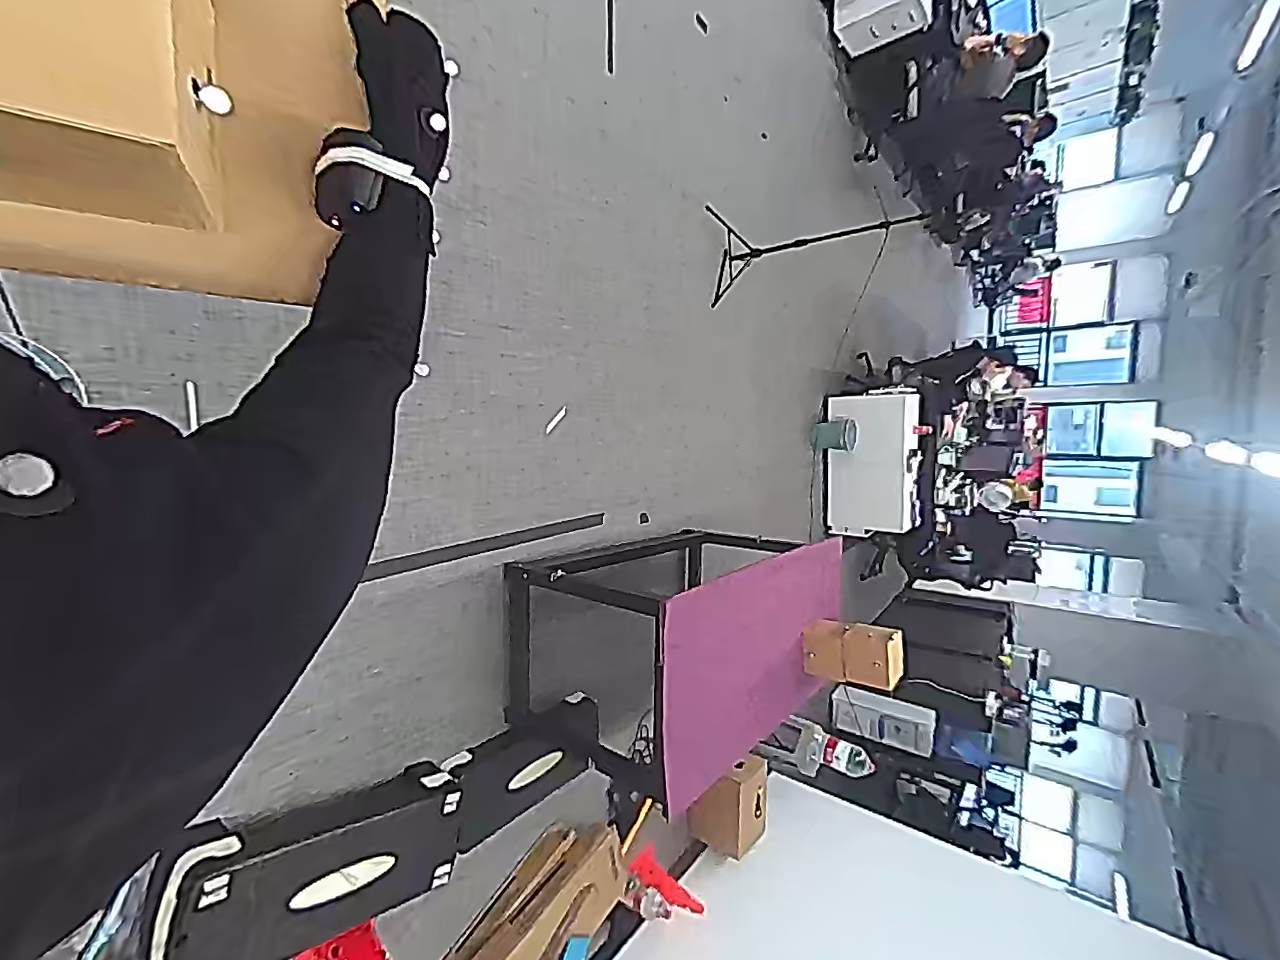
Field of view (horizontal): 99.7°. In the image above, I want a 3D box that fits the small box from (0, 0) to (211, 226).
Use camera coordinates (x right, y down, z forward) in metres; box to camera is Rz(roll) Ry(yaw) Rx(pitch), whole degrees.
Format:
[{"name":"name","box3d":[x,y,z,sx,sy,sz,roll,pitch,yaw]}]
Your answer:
[{"name":"small box","box3d":[-0.358,-0.260,0.300,0.179,0.176,0.168,-1,97,-30]}]
